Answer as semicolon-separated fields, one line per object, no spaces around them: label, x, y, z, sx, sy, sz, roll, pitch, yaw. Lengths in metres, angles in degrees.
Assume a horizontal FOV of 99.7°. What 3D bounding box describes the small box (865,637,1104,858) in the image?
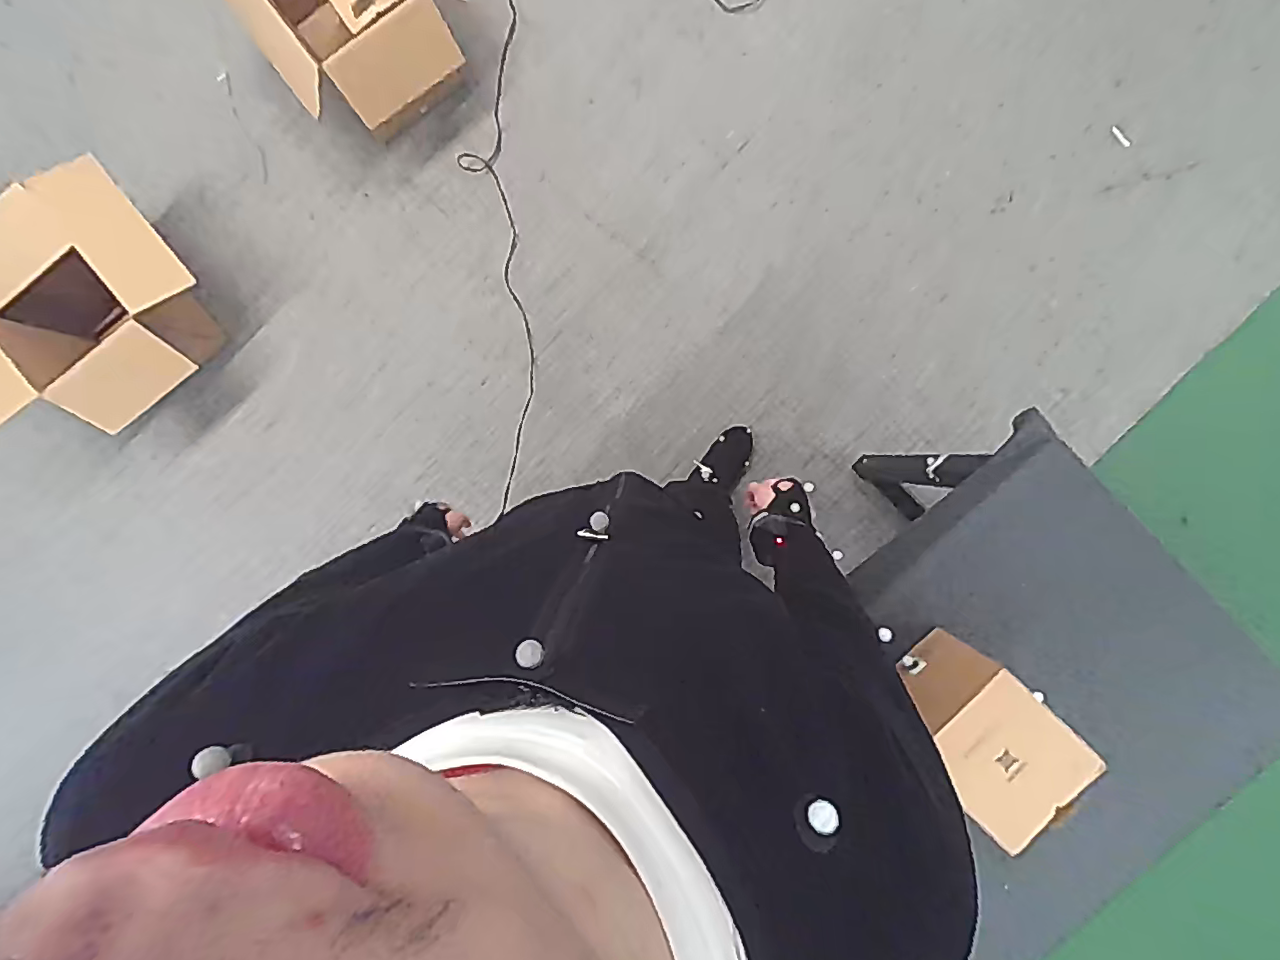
small box;0.452;0.348;0.740;0.179;0.176;0.168;43;92;0

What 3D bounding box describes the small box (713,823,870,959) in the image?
small box;0.215;0.632;0.773;0.168;0.176;0.179;-23;91;2
